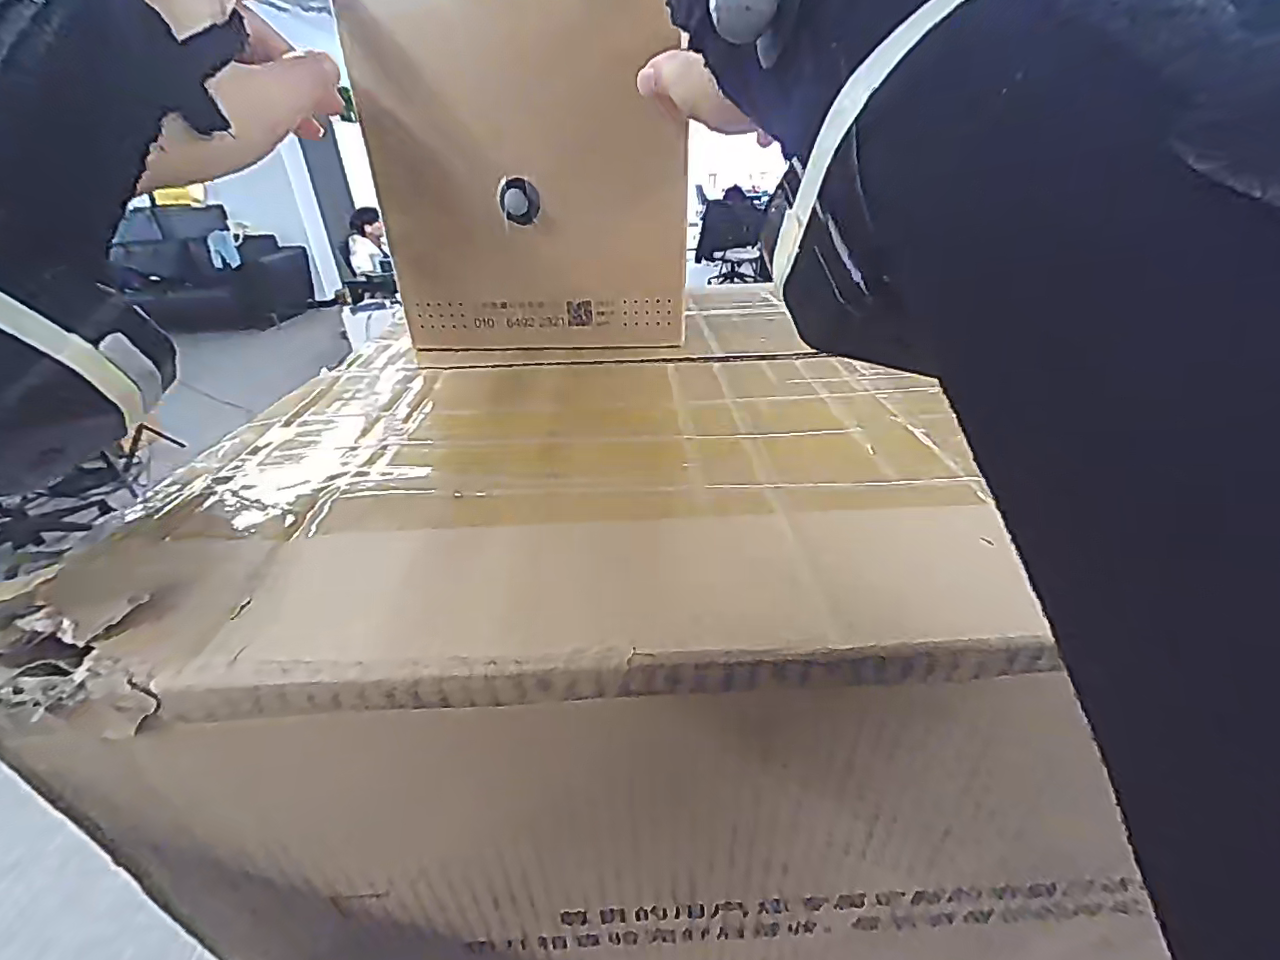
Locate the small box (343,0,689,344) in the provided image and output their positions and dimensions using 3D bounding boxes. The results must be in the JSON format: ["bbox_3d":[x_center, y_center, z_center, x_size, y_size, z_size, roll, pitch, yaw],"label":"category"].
[{"bbox_3d":[-0.053,-0.193,0.357,0.168,0.176,0.179,0,30,1],"label":"small box"}]
